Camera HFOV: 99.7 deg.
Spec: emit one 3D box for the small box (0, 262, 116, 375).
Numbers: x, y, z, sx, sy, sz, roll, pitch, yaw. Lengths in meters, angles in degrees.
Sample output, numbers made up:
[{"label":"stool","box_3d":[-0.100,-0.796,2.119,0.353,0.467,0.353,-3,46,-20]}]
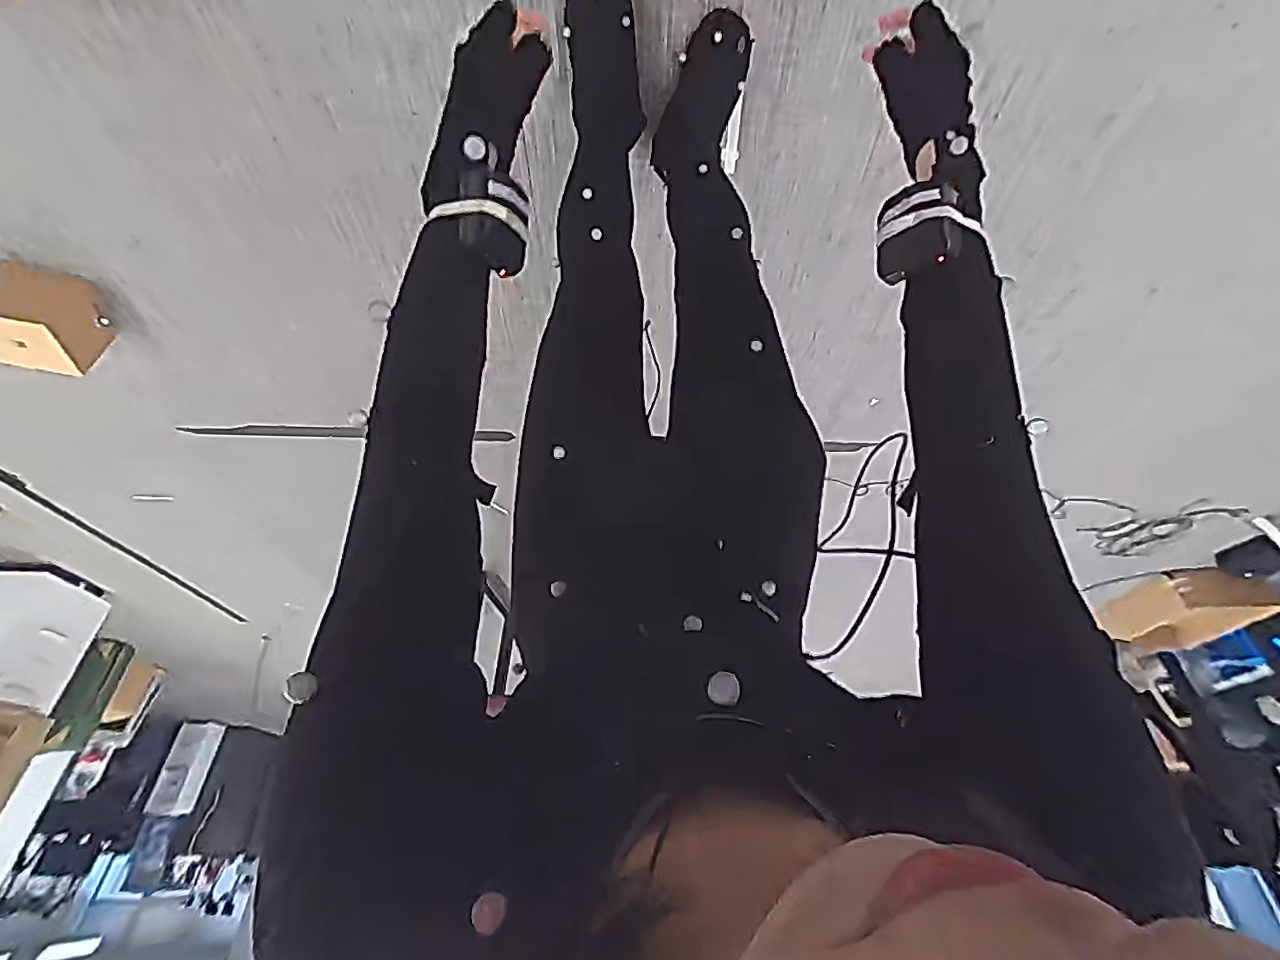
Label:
[{"label":"small box","box_3d":[-1.381,-0.372,1.239,0.179,0.176,0.168,9,145,-14]}]
